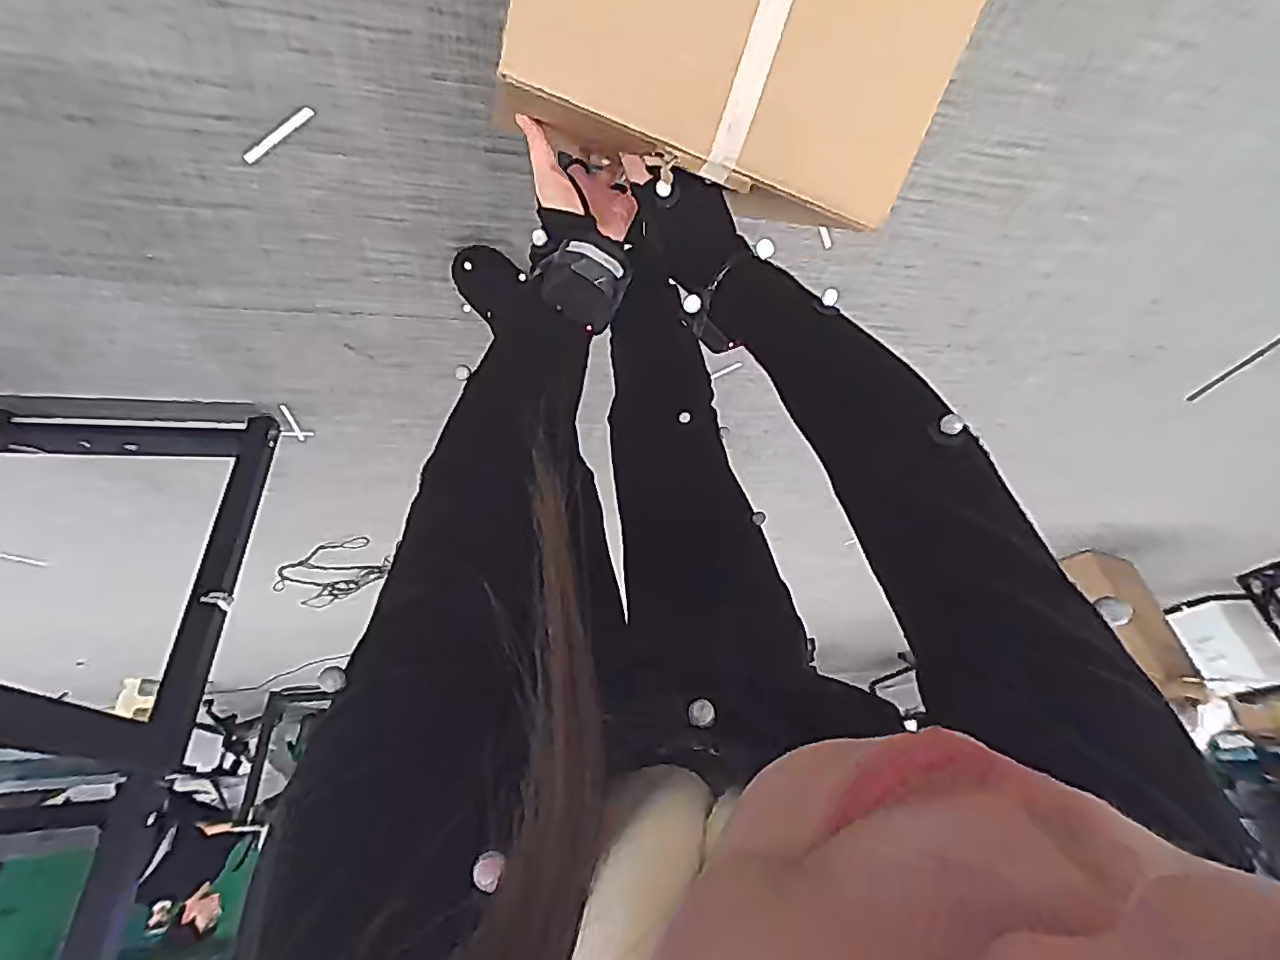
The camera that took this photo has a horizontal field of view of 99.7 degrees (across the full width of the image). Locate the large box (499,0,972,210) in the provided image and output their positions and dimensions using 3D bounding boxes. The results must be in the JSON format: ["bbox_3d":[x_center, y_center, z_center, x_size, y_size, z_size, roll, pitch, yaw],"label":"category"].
[{"bbox_3d":[0.073,-0.476,0.435,0.320,0.320,0.408,9,114,-21],"label":"large box"}]
